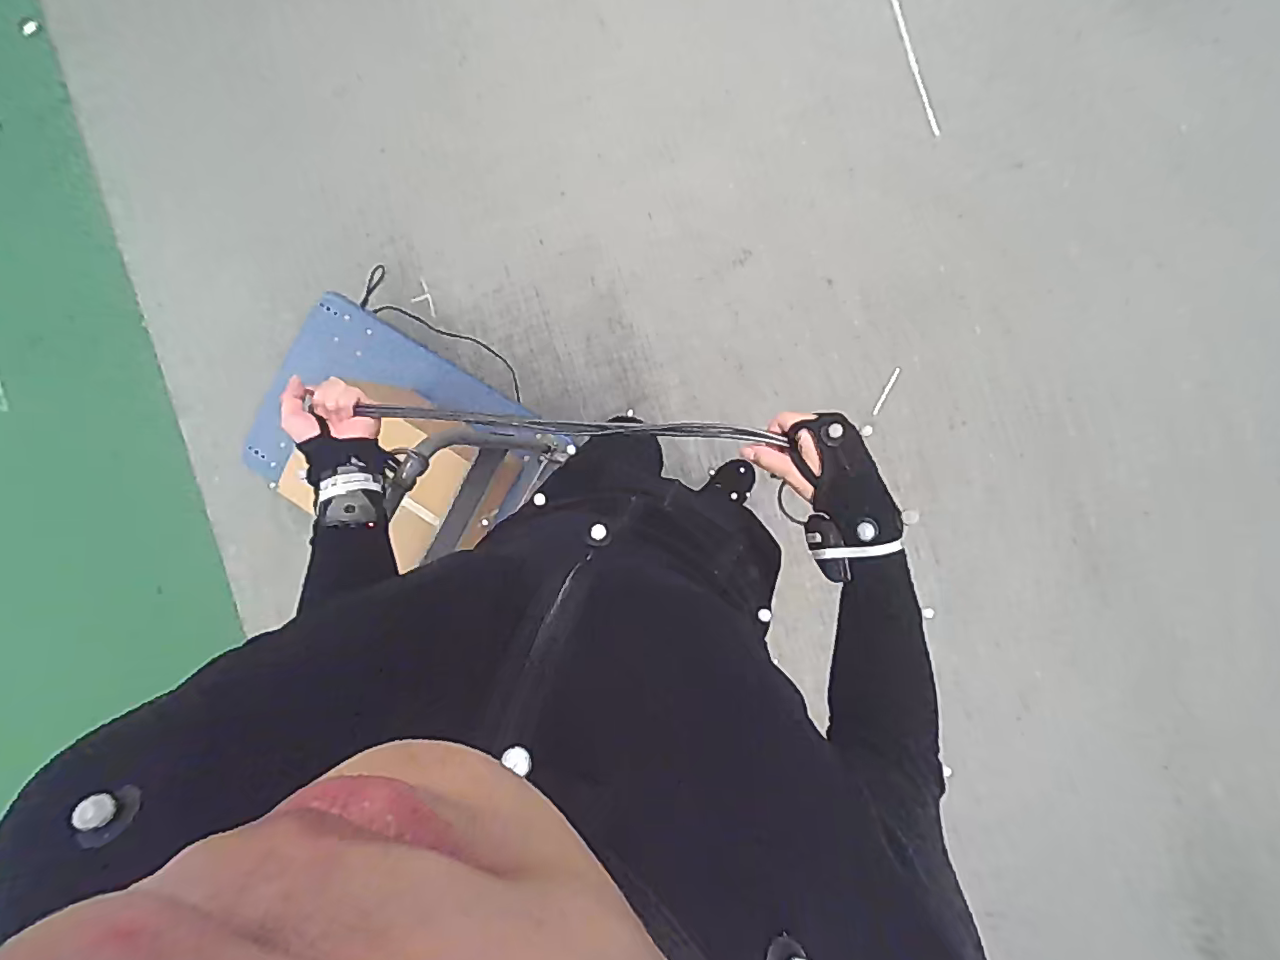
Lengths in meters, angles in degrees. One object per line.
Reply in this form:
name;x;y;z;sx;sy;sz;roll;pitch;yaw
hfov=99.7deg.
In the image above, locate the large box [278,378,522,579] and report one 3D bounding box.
large box;-0.580;-0.012;1.368;0.408;0.320;0.320;32;97;6
